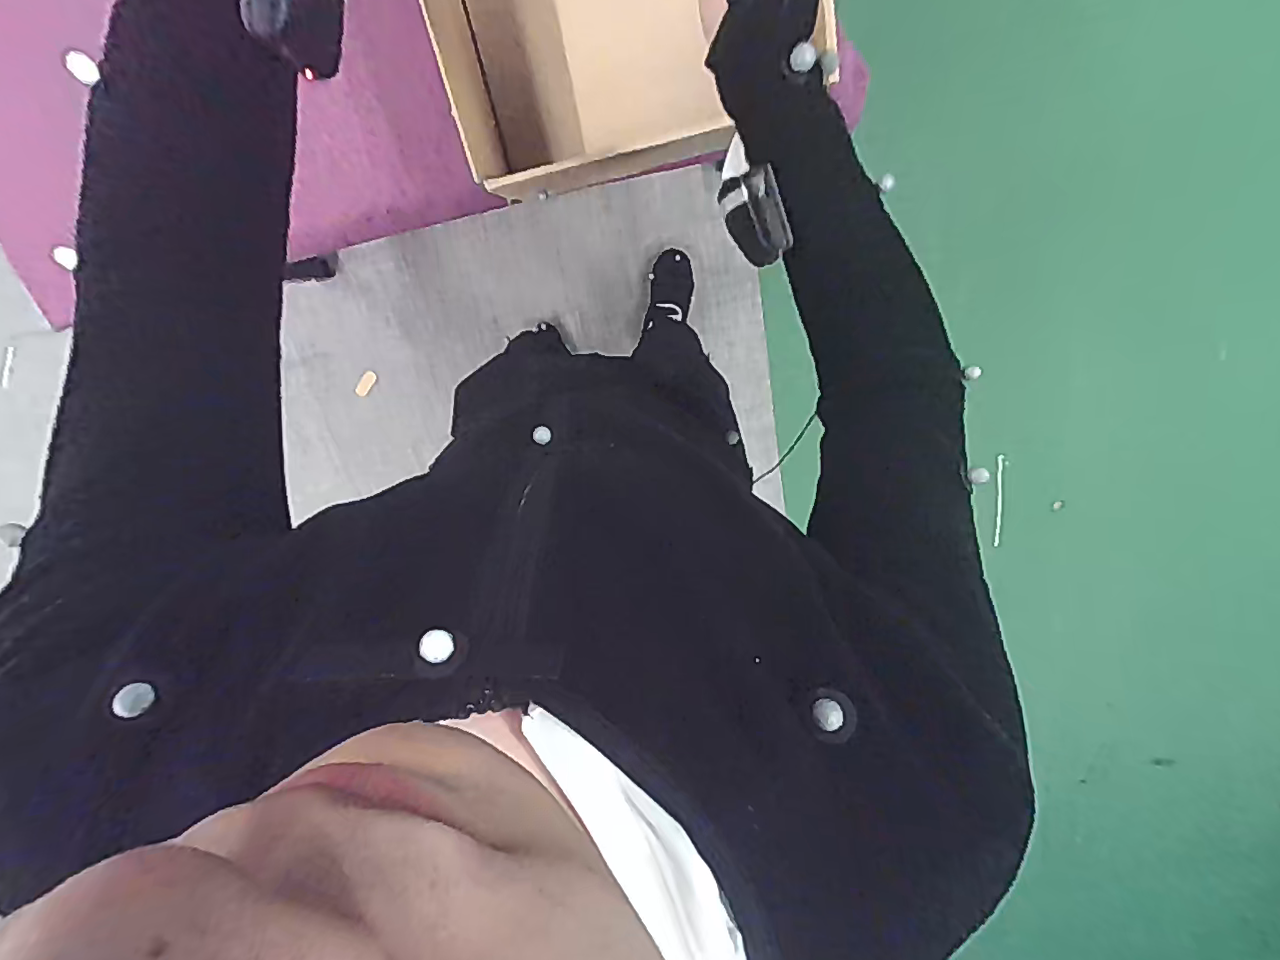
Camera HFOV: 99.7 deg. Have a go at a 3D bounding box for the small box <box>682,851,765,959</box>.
[{"bbox_3d":[0.240,1.249,1.593,0.179,0.176,0.168,-38,106,14],"label":"small box"}]
